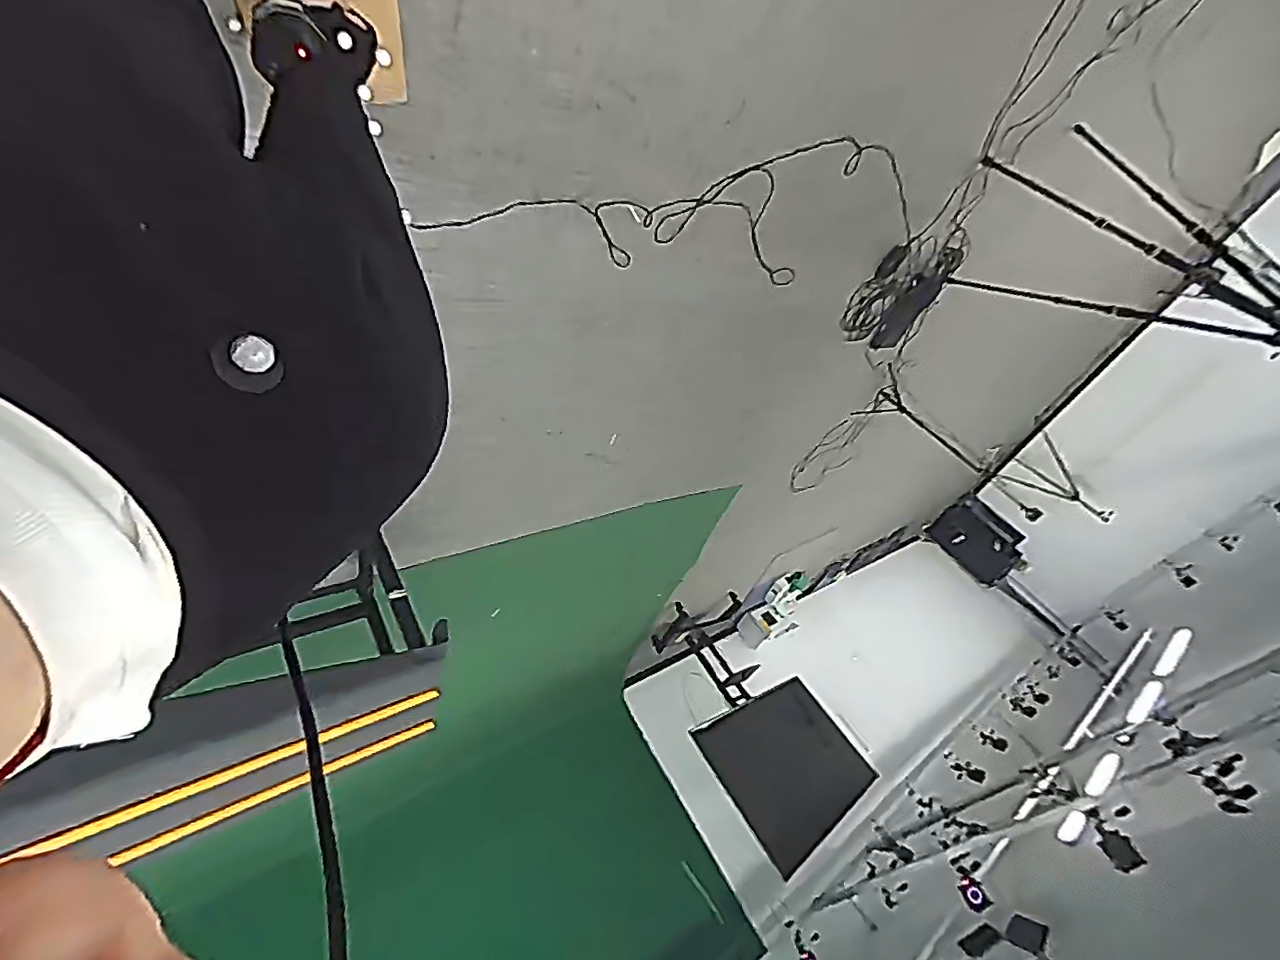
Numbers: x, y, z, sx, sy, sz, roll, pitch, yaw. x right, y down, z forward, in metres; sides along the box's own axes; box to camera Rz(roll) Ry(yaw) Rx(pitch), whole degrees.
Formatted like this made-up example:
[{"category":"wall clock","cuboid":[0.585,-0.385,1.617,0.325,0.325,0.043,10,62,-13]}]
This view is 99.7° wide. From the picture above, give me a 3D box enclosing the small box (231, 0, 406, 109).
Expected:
[{"category":"small box","cuboid":[-0.402,-0.586,0.654,0.168,0.179,0.176,-24,173,-20]}]
